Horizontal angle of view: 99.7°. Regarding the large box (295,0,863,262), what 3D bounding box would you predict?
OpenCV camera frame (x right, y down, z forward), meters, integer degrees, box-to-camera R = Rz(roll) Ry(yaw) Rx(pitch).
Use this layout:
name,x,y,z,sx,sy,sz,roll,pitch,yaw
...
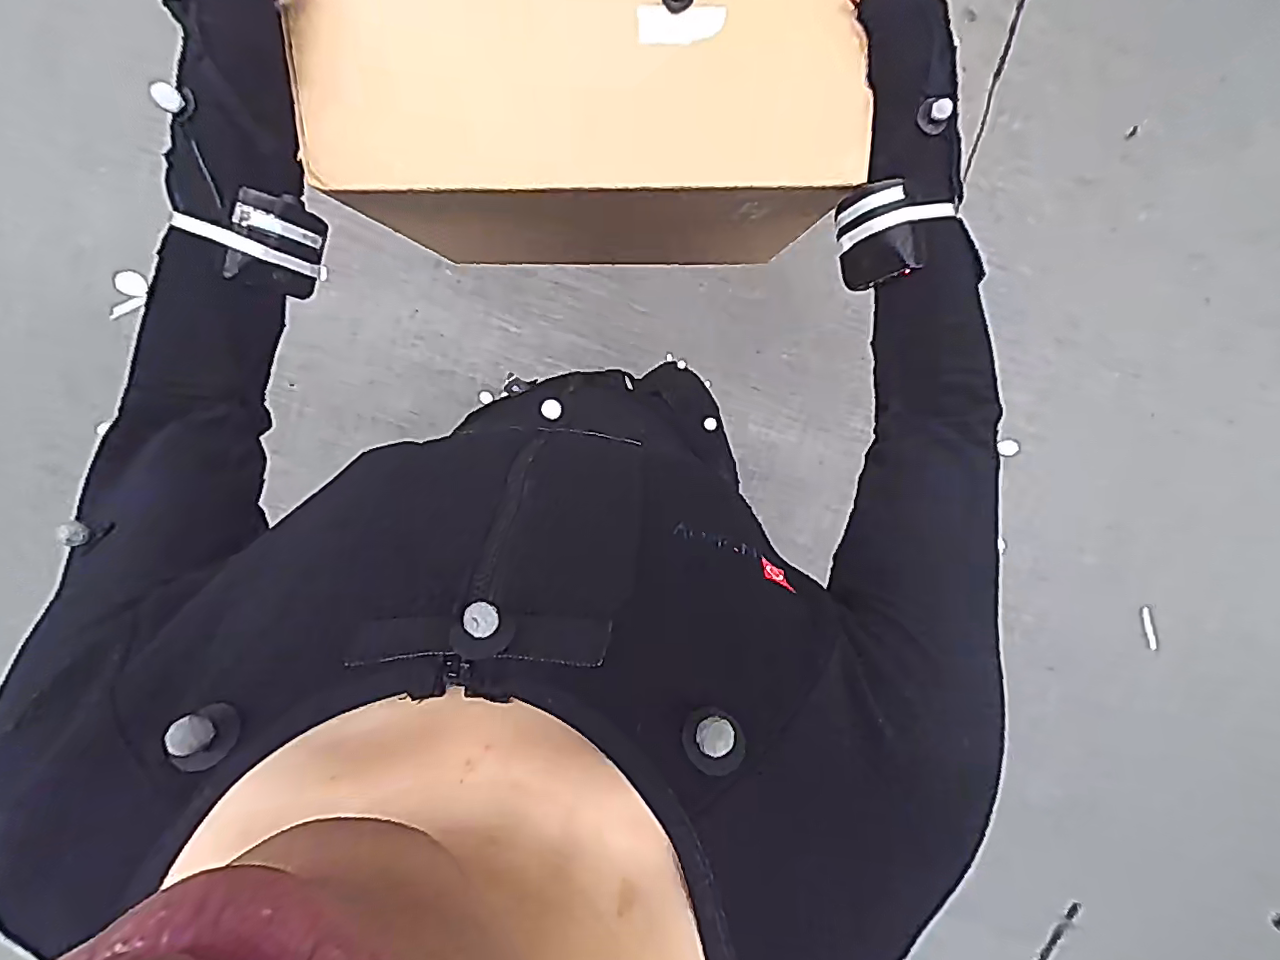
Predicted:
name,x,y,z,sx,sy,sz,roll,pitch,yaw
large box,-0.044,-0.404,0.514,0.408,0.320,0.320,-1,103,0
